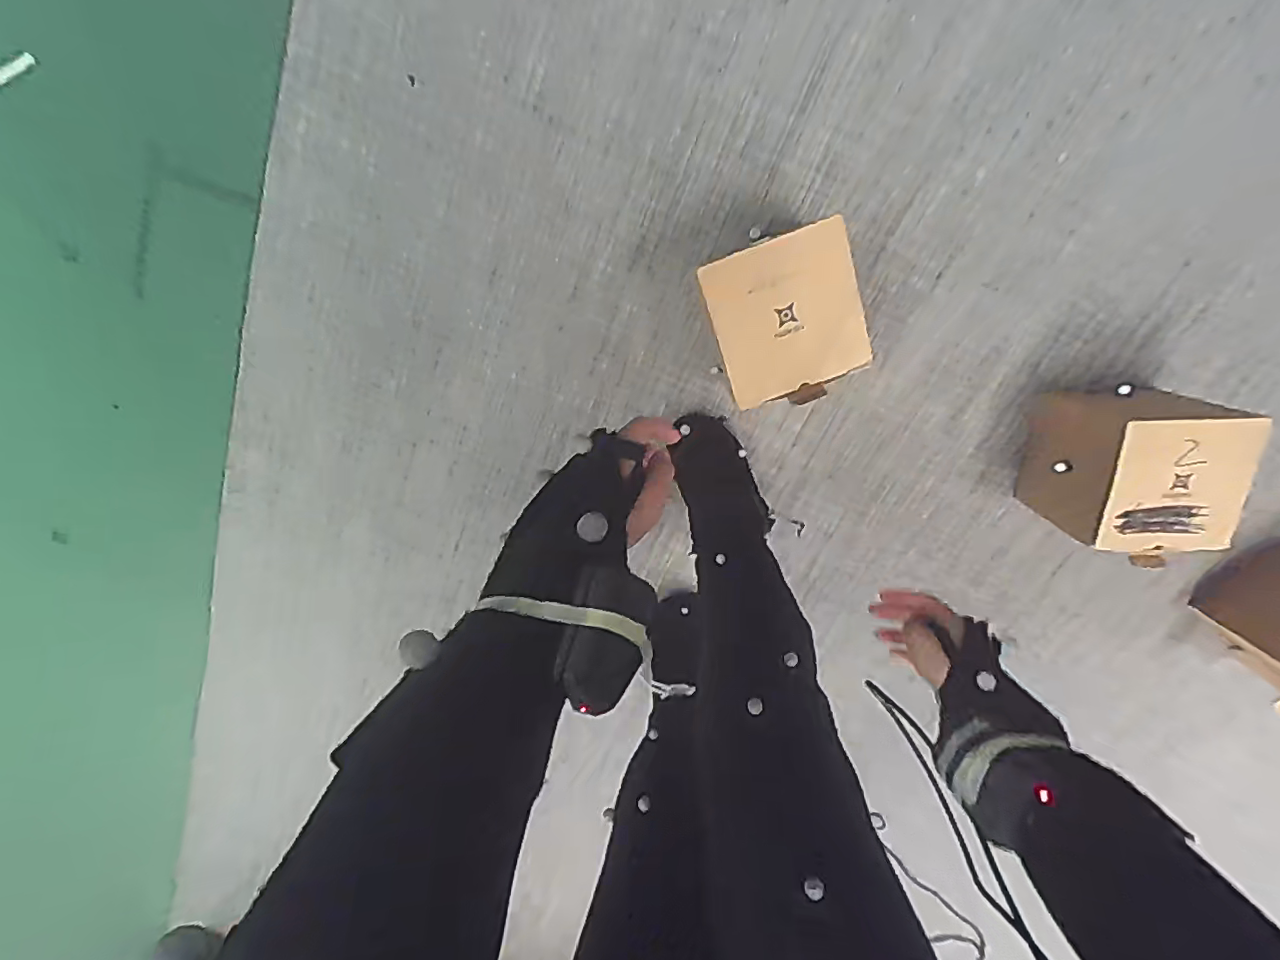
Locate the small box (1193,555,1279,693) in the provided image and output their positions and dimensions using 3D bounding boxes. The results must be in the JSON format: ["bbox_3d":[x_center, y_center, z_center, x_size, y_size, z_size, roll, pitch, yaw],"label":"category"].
[{"bbox_3d":[1.038,0.237,0.829,0.168,0.176,0.179,41,108,-13],"label":"small box"}]

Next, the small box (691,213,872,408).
[{"bbox_3d":[0.169,-0.214,0.688,0.168,0.176,0.179,-19,108,8],"label":"small box"}]
